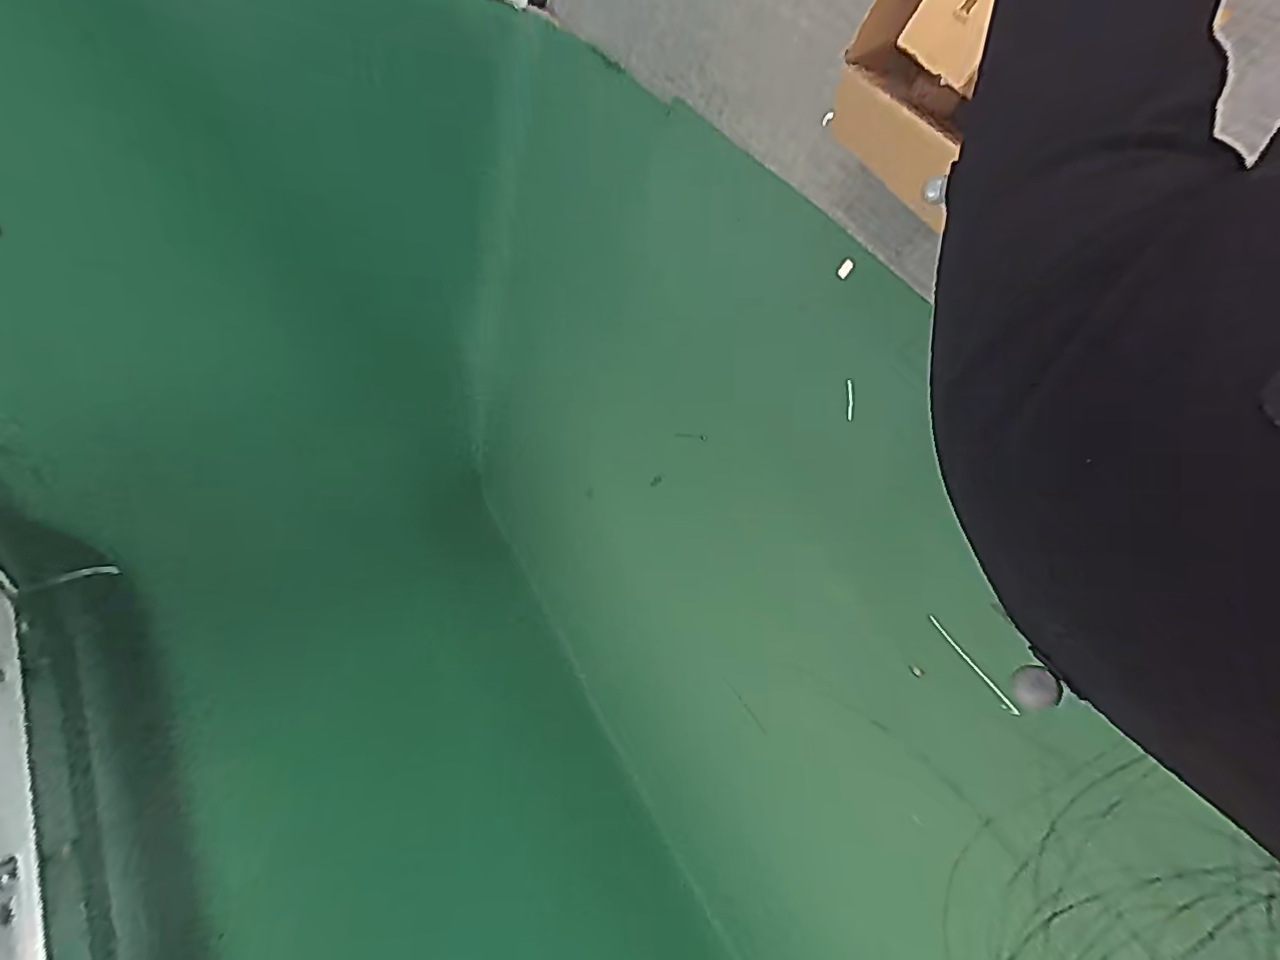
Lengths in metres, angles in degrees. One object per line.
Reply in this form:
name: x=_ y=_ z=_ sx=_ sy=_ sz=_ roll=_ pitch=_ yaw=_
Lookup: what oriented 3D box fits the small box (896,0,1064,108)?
small box: x=0.609 y=-0.809 z=0.965 sx=0.168 sy=0.176 sz=0.179 roll=57 pitch=140 yaw=21
